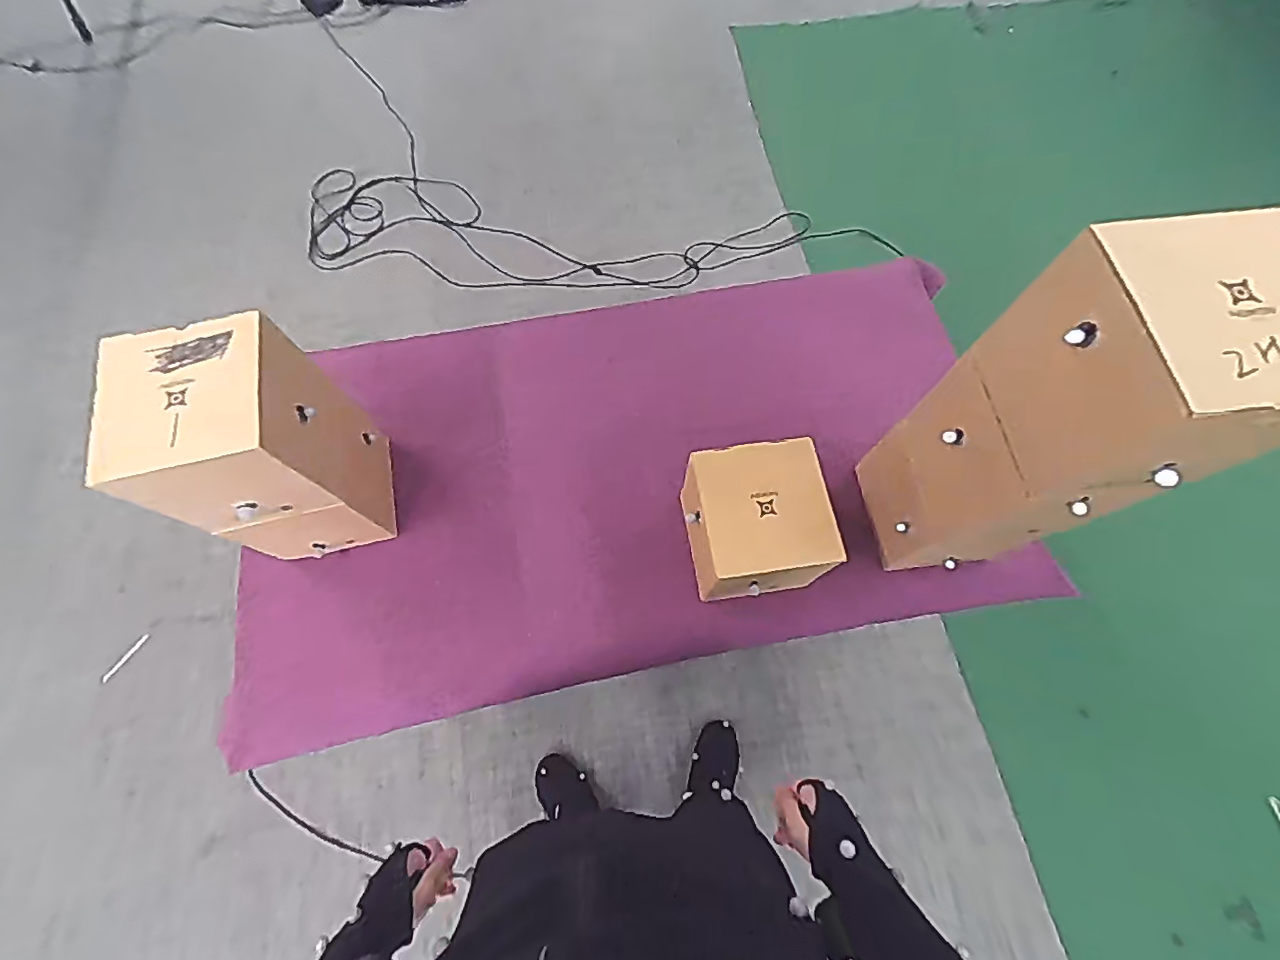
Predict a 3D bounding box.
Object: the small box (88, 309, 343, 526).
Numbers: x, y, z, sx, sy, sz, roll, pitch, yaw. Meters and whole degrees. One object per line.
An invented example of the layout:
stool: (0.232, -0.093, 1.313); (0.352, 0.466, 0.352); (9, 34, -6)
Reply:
small box: (-0.473, -0.065, 0.632); (0.168, 0.176, 0.179); (-13, 70, -5)

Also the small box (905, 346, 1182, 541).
small box: (0.439, -0.041, 0.628); (0.168, 0.176, 0.179); (-6, 68, -2)

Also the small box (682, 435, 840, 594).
small box: (0.157, 0.059, 0.766); (0.168, 0.176, 0.179); (-8, 67, -3)

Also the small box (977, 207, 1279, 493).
small box: (0.439, -0.103, 0.475); (0.168, 0.176, 0.179); (-6, 69, -1)

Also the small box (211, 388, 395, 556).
small box: (-0.475, -0.005, 0.785); (0.168, 0.176, 0.179); (-13, 71, -5)
